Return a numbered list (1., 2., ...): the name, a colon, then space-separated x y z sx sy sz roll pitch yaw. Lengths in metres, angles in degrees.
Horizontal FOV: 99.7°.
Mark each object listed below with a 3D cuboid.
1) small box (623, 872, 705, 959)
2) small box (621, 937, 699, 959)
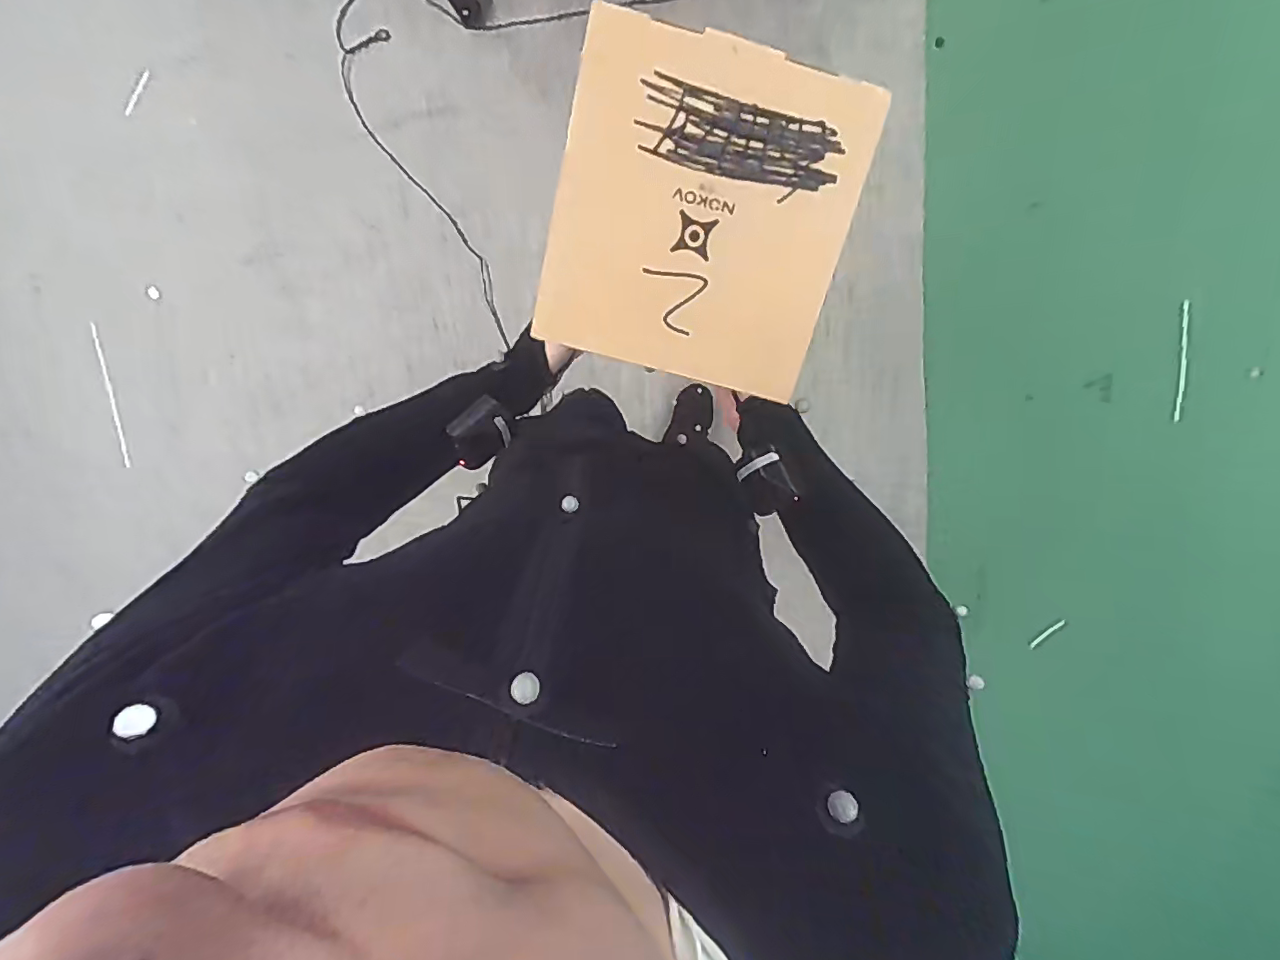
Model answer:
1. small box: 0.059 1.066 1.279 0.168 0.176 0.179 -10 99 6
2. small box: 0.045 1.094 1.118 0.168 0.176 0.179 -6 100 5
